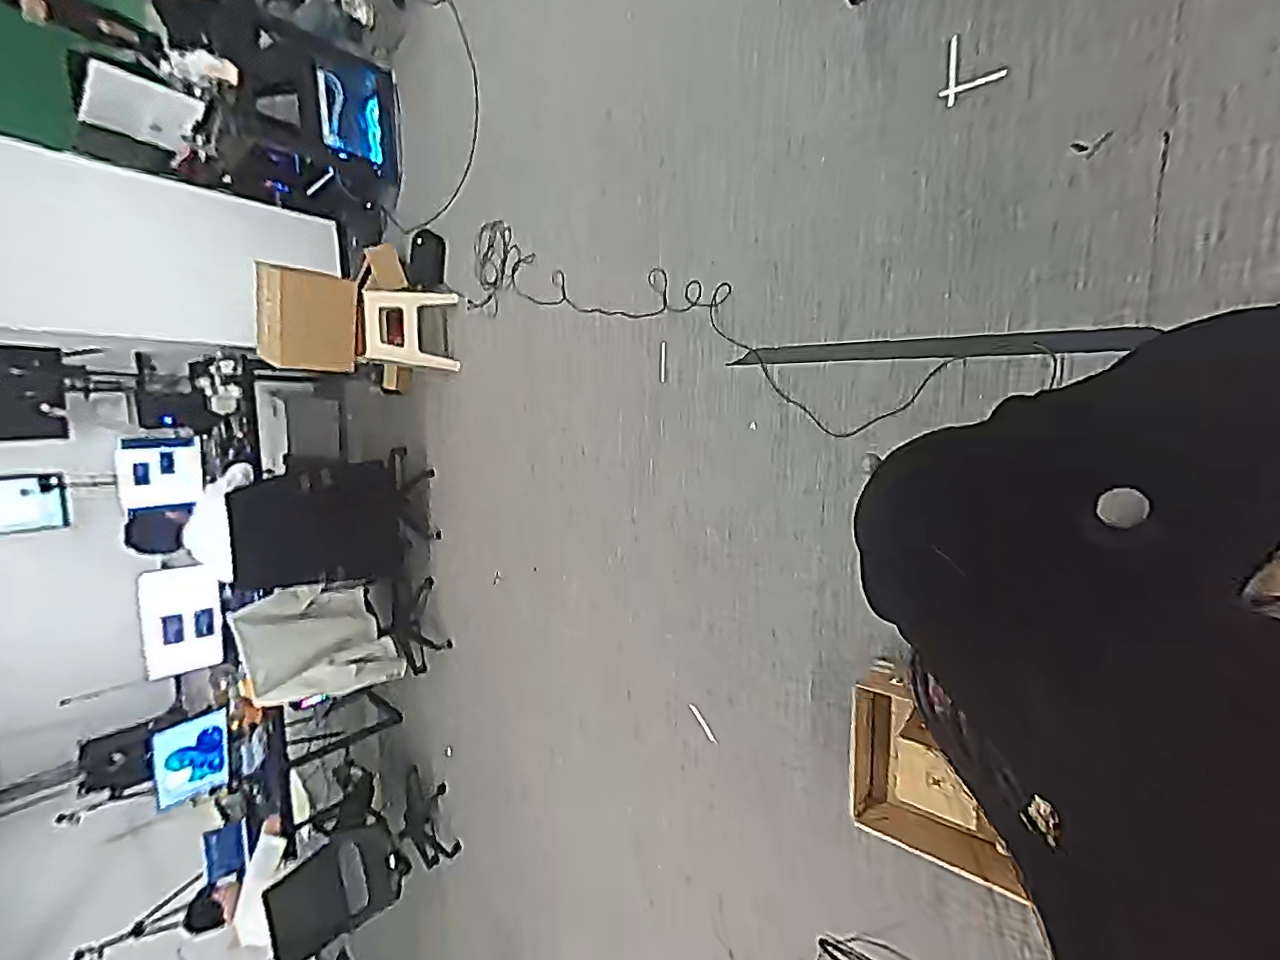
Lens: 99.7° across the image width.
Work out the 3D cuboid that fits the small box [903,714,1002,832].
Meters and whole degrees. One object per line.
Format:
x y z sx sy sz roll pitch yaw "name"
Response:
0.762 0.698 1.318 0.179 0.176 0.168 6 99 40 "small box"
